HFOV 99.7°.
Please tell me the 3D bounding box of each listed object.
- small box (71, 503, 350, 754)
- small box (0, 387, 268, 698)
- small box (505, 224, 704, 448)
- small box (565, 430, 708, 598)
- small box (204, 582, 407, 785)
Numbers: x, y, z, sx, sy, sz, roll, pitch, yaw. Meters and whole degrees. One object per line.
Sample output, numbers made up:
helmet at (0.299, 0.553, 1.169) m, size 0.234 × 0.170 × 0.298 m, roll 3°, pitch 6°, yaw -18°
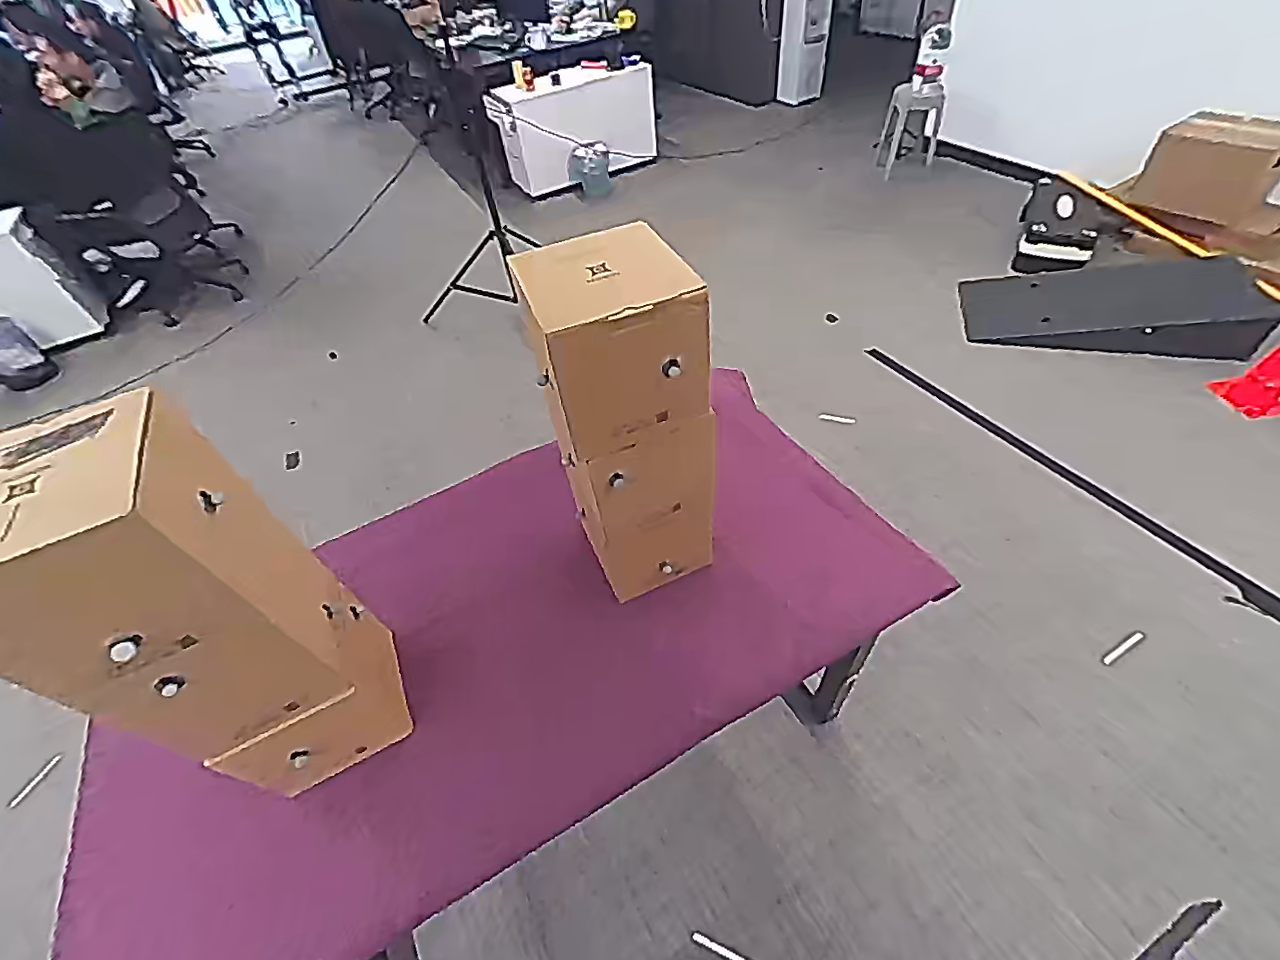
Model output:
small box at (-0.452, 0.164, 0.599) m, size 0.168 × 0.176 × 0.179 m, roll -26°, pitch 50°, yaw -15°
small box at (-0.462, 0.054, 0.476) m, size 0.168 × 0.176 × 0.179 m, roll -25°, pitch 51°, yaw -15°
small box at (-0.035, -0.156, 0.610) m, size 0.168 × 0.176 × 0.179 m, roll -20°, pitch 48°, yaw -11°
small box at (-0.004, 0.054, 0.858) m, size 0.168 × 0.176 × 0.179 m, roll -22°, pitch 50°, yaw -11°
small box at (-0.433, 0.276, 0.717) m, size 0.168 × 0.176 × 0.179 m, roll -25°, pitch 50°, yaw -15°
